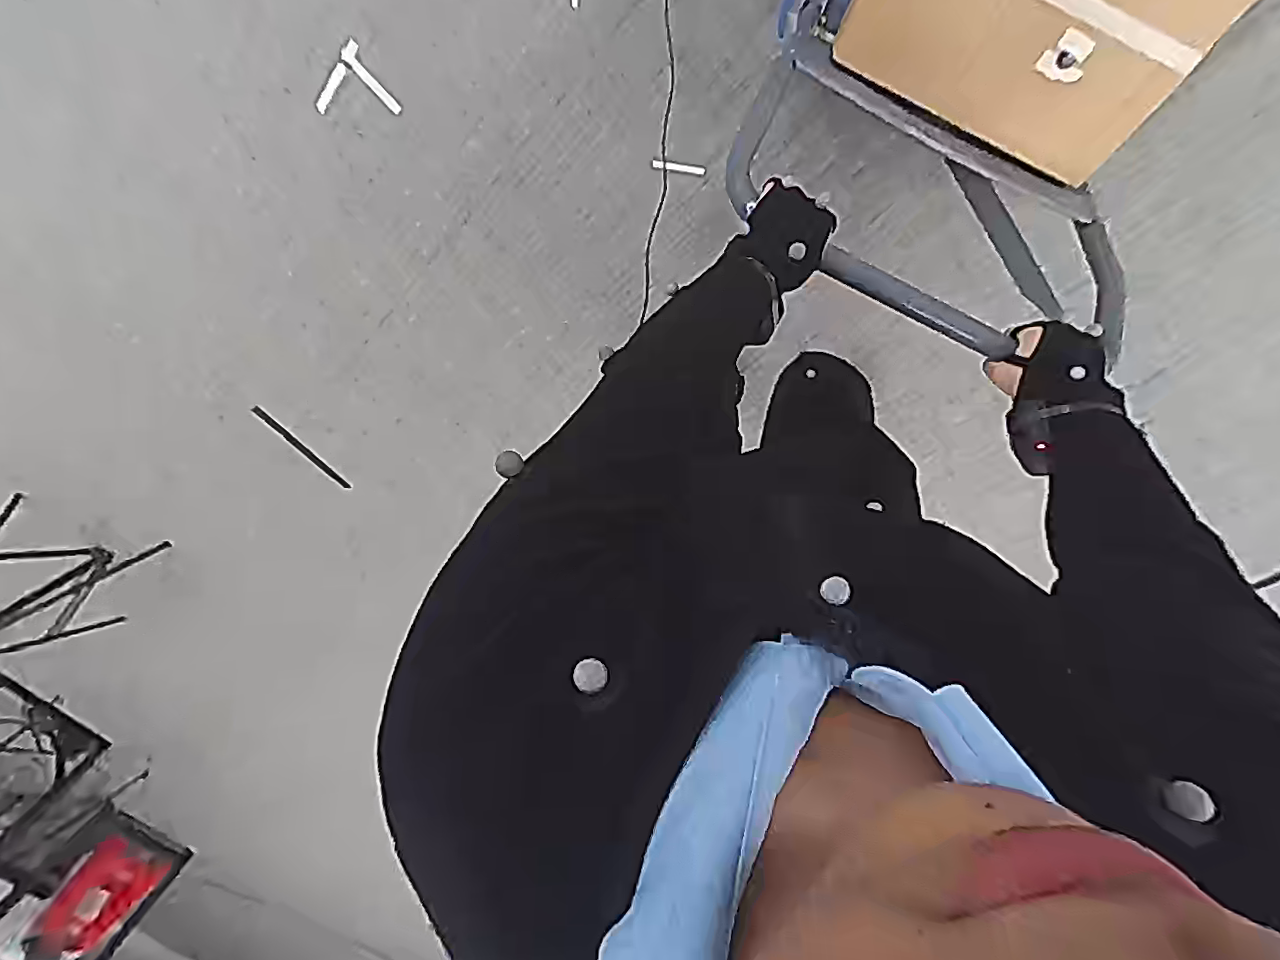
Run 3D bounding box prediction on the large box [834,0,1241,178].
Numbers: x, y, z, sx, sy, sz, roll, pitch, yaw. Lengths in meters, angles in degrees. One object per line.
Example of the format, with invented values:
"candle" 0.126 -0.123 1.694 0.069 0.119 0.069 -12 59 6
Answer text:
"large box" 0.536 -0.709 0.756 0.408 0.320 0.320 25 140 -4
